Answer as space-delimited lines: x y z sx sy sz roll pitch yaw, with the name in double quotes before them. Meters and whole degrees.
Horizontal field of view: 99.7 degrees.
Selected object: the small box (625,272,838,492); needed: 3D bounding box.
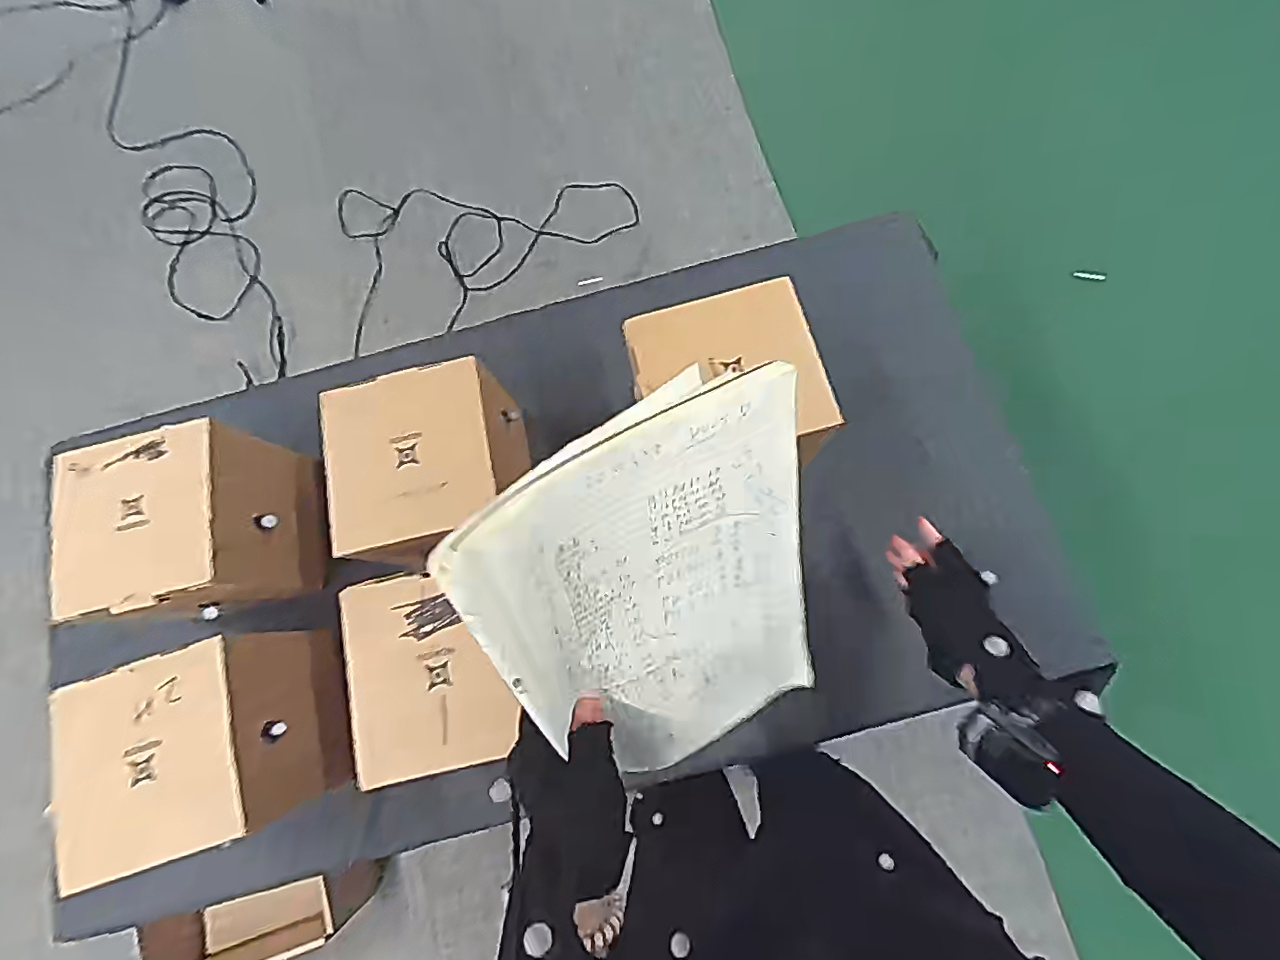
"small box" 0.092 -0.096 0.605 0.179 0.176 0.168 -15 77 2
